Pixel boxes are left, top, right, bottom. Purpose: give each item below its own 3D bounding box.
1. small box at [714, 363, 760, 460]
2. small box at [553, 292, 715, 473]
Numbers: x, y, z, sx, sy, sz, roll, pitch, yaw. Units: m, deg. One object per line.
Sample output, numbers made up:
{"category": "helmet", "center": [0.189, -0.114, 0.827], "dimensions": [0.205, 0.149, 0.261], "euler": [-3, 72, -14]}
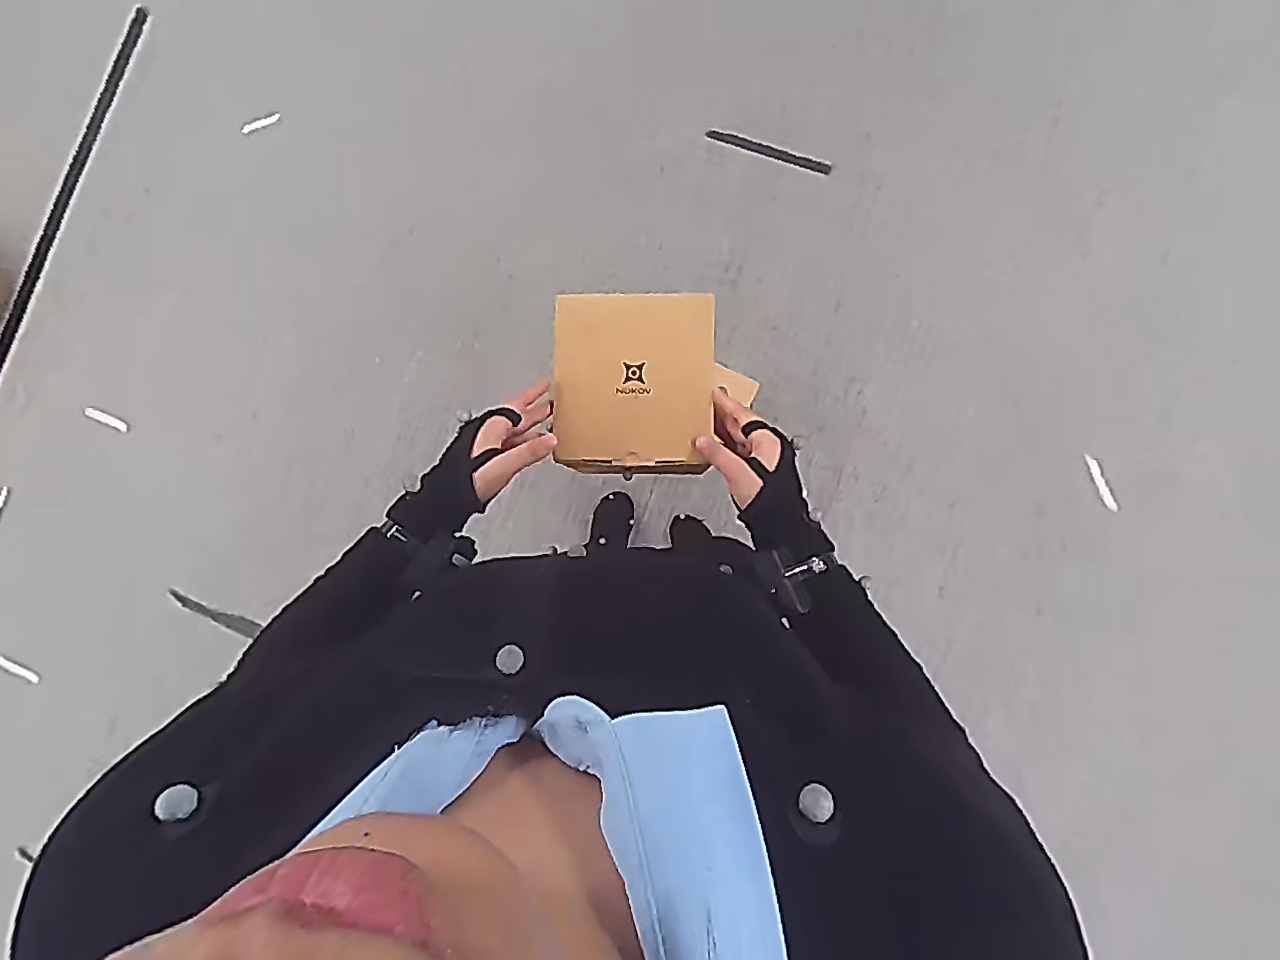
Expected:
{"category": "small box", "center": [0.157, -0.162, 1.252], "dimensions": [0.168, 0.176, 0.179], "euler": [27, 91, 6]}
{"category": "small box", "center": [-0.004, -0.100, 0.625], "dimensions": [0.168, 0.176, 0.179], "euler": [-1, 88, 2]}
